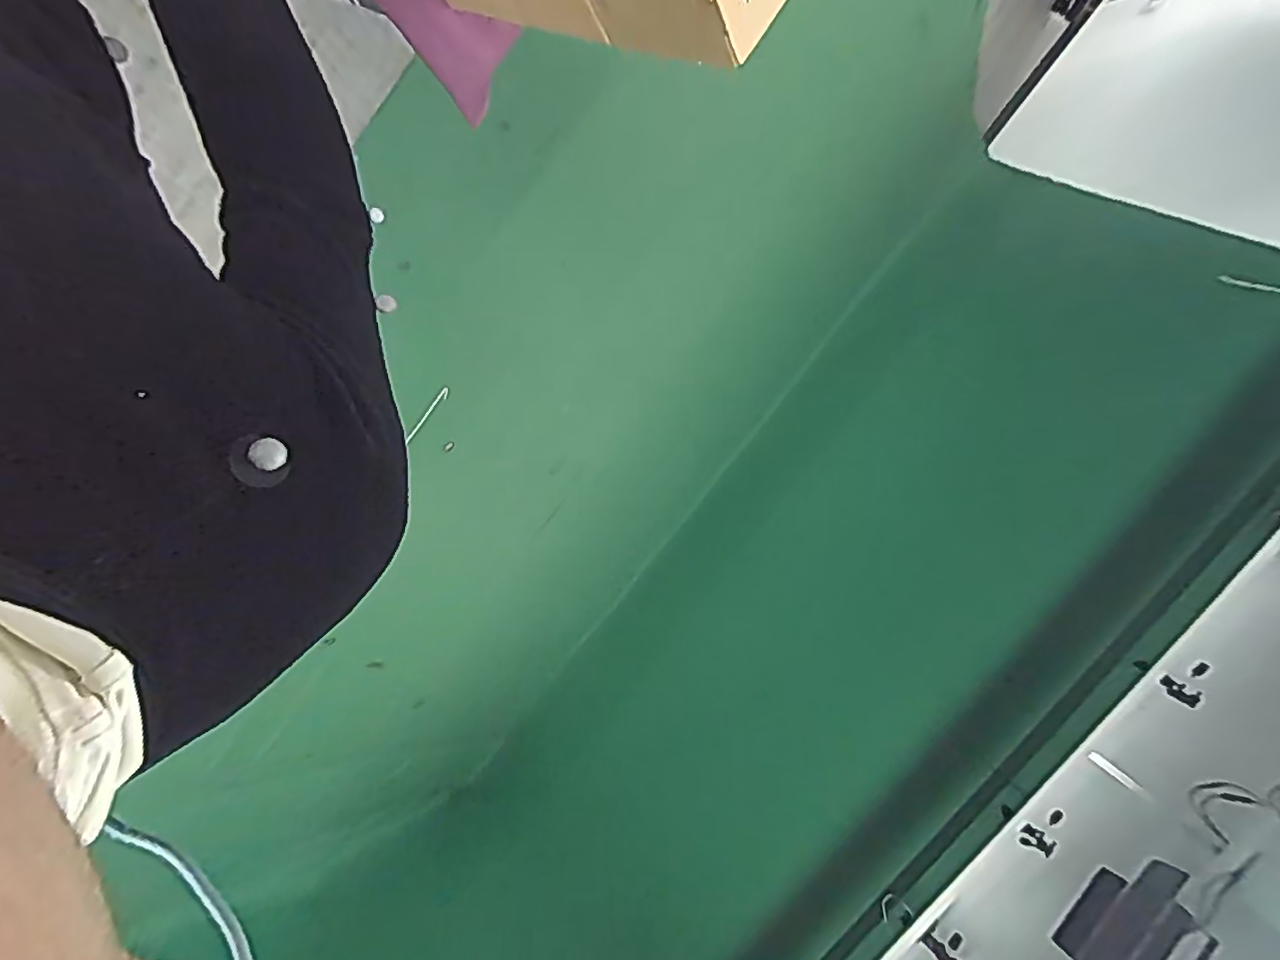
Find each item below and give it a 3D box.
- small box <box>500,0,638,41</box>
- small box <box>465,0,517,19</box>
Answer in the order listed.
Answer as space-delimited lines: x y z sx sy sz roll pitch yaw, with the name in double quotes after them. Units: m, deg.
-0.070 -0.577 0.514 0.179 0.176 0.168 -51 150 2 "small box"
-0.184 -0.668 0.591 0.168 0.176 0.179 -51 150 2 "small box"
